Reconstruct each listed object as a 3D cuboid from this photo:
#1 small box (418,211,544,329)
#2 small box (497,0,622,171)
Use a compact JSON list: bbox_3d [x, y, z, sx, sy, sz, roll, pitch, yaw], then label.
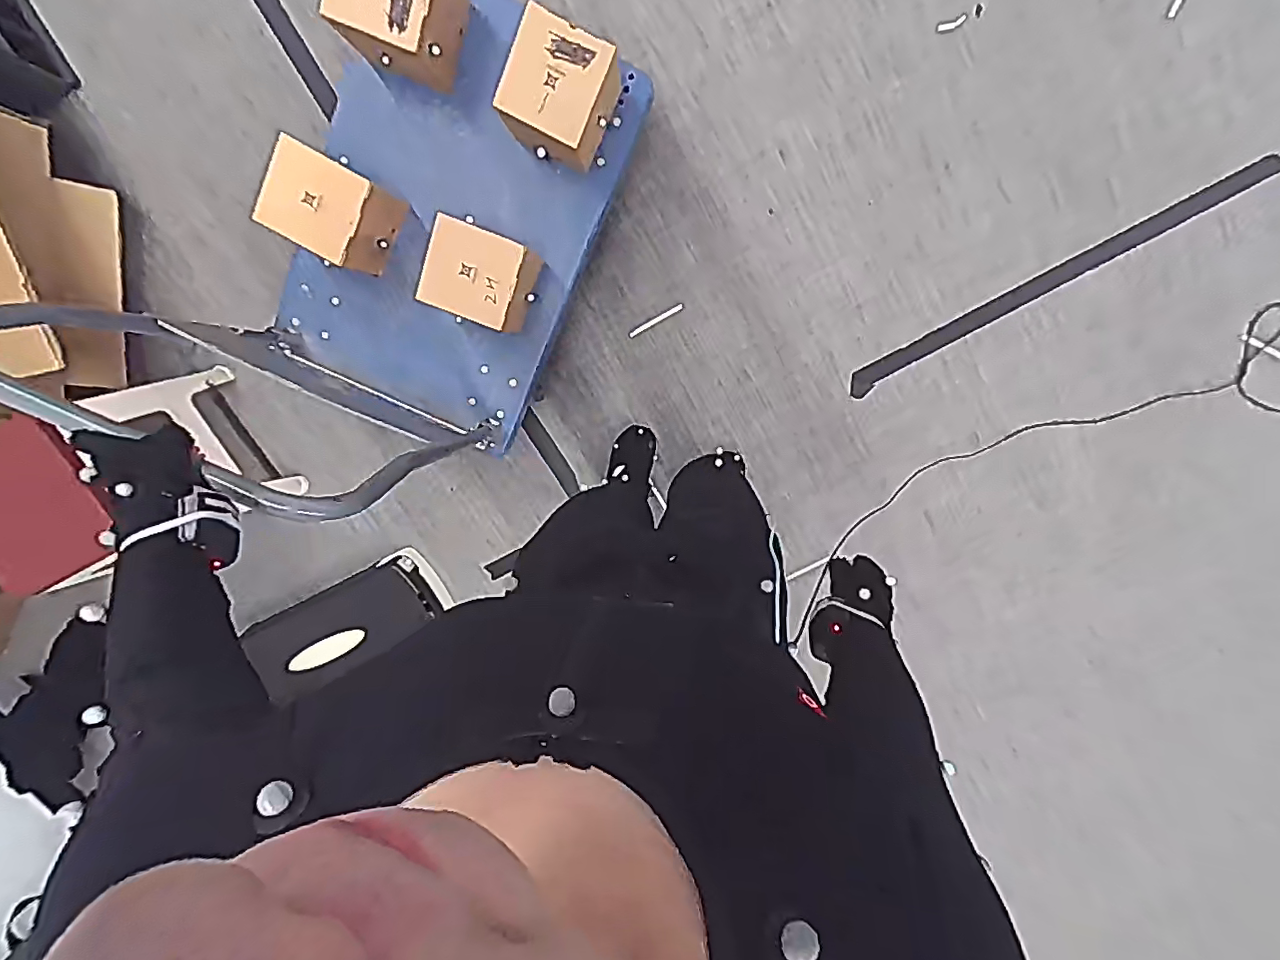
[{"bbox_3d":[-0.313,-0.412,1.093,0.179,0.176,0.168,21,104,-5],"label":"small box"},{"bbox_3d":[-0.142,-0.721,1.010,0.168,0.176,0.179,25,105,-6],"label":"small box"}]
